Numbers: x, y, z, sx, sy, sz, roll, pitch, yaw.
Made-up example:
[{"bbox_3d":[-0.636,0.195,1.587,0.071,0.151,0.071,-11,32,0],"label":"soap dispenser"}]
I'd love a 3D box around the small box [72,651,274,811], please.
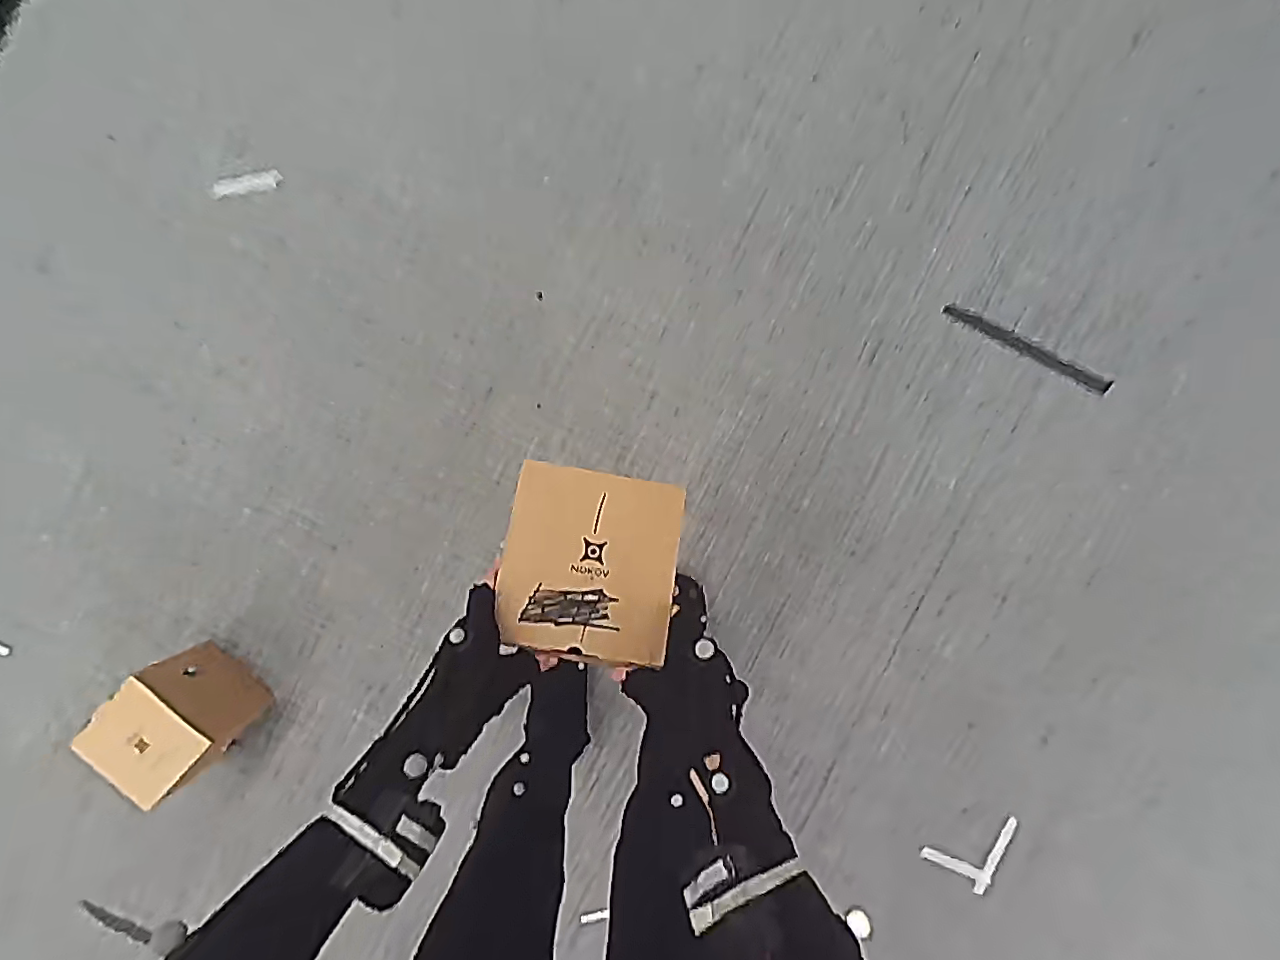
[{"bbox_3d":[-0.828,0.436,0.978,0.179,0.176,0.168,43,92,-3],"label":"small box"}]

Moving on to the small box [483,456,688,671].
[{"bbox_3d":[-0.055,0.093,0.577,0.168,0.176,0.179,11,75,-5],"label":"small box"}]
